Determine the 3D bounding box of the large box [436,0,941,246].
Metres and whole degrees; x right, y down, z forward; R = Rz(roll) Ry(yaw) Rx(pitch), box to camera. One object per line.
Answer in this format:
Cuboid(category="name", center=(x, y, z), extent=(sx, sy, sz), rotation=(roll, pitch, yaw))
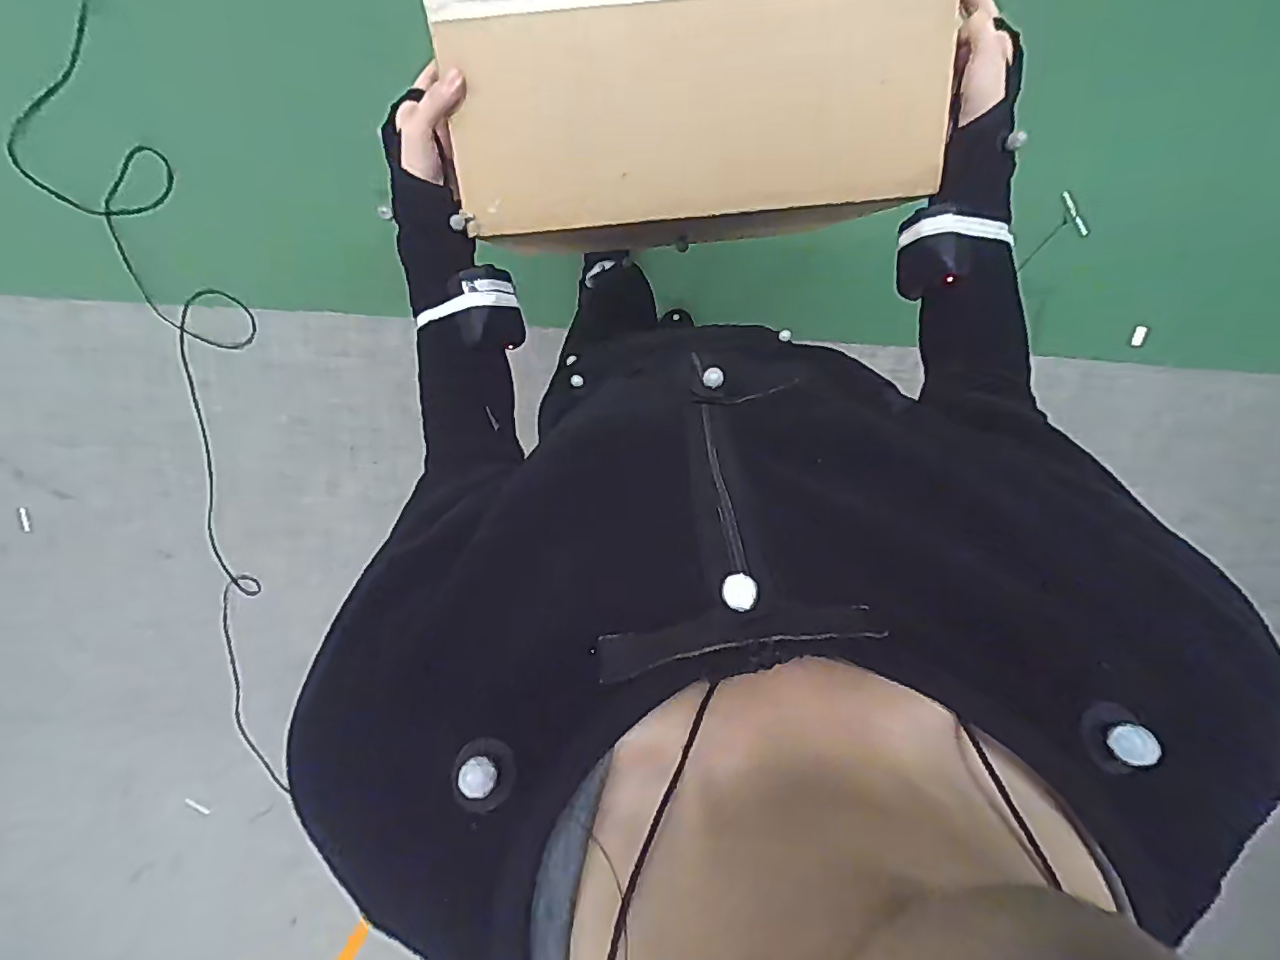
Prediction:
Cuboid(category="large box", center=(0.036, -0.434, 0.559), extent=(0.408, 0.320, 0.320), rotation=(-5, 109, 0))
